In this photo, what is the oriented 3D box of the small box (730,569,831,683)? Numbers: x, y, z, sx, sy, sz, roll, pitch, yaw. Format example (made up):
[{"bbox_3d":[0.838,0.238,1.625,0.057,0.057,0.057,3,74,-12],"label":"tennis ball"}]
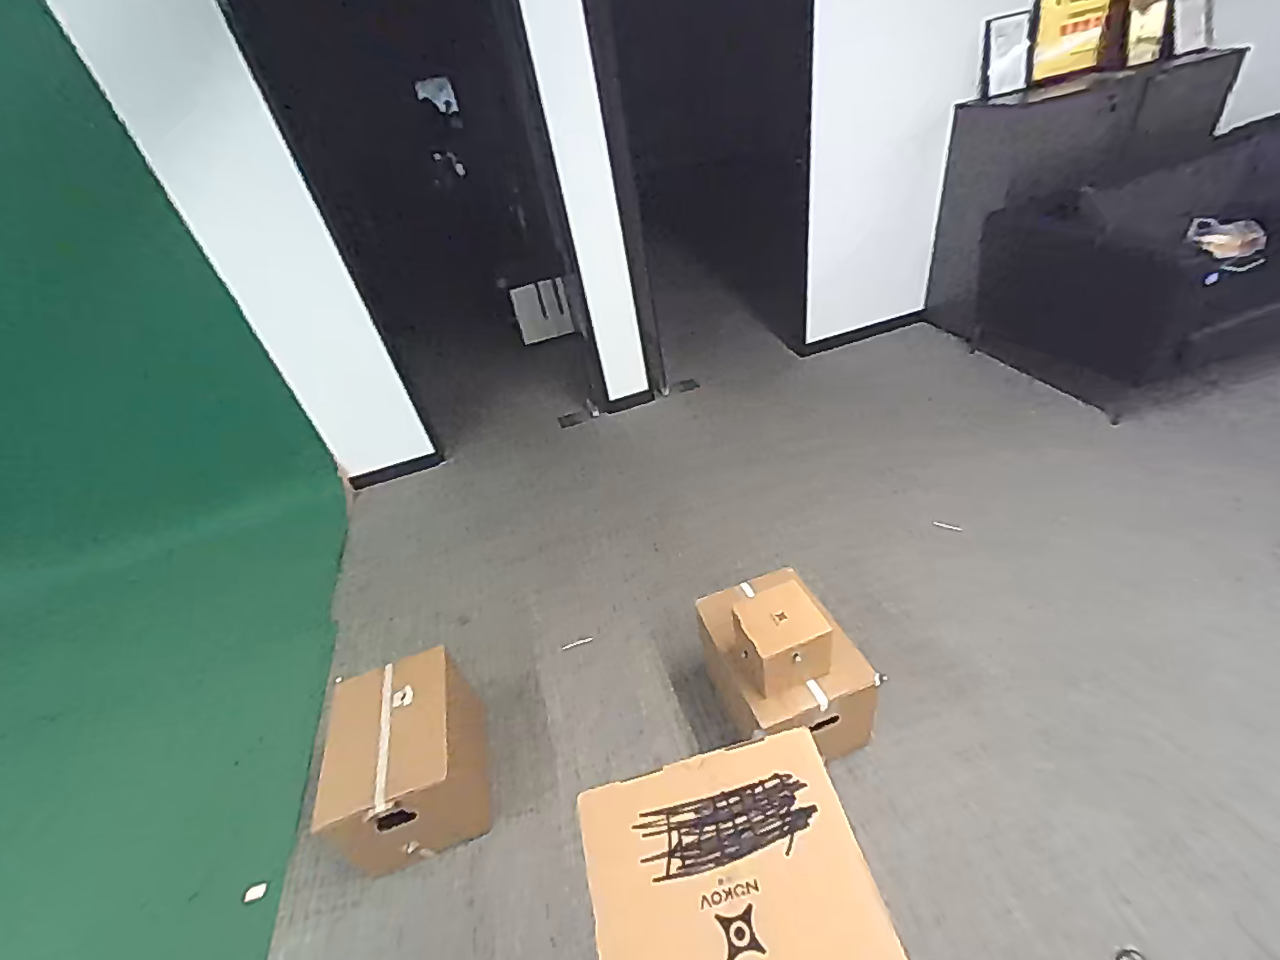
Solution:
[{"bbox_3d":[0.335,0.351,1.300,0.179,0.176,0.168,-21,40,-7],"label":"small box"}]

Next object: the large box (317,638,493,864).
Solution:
[{"bbox_3d":[-0.620,0.727,1.479,0.320,0.320,0.408,-19,38,-8],"label":"large box"}]
